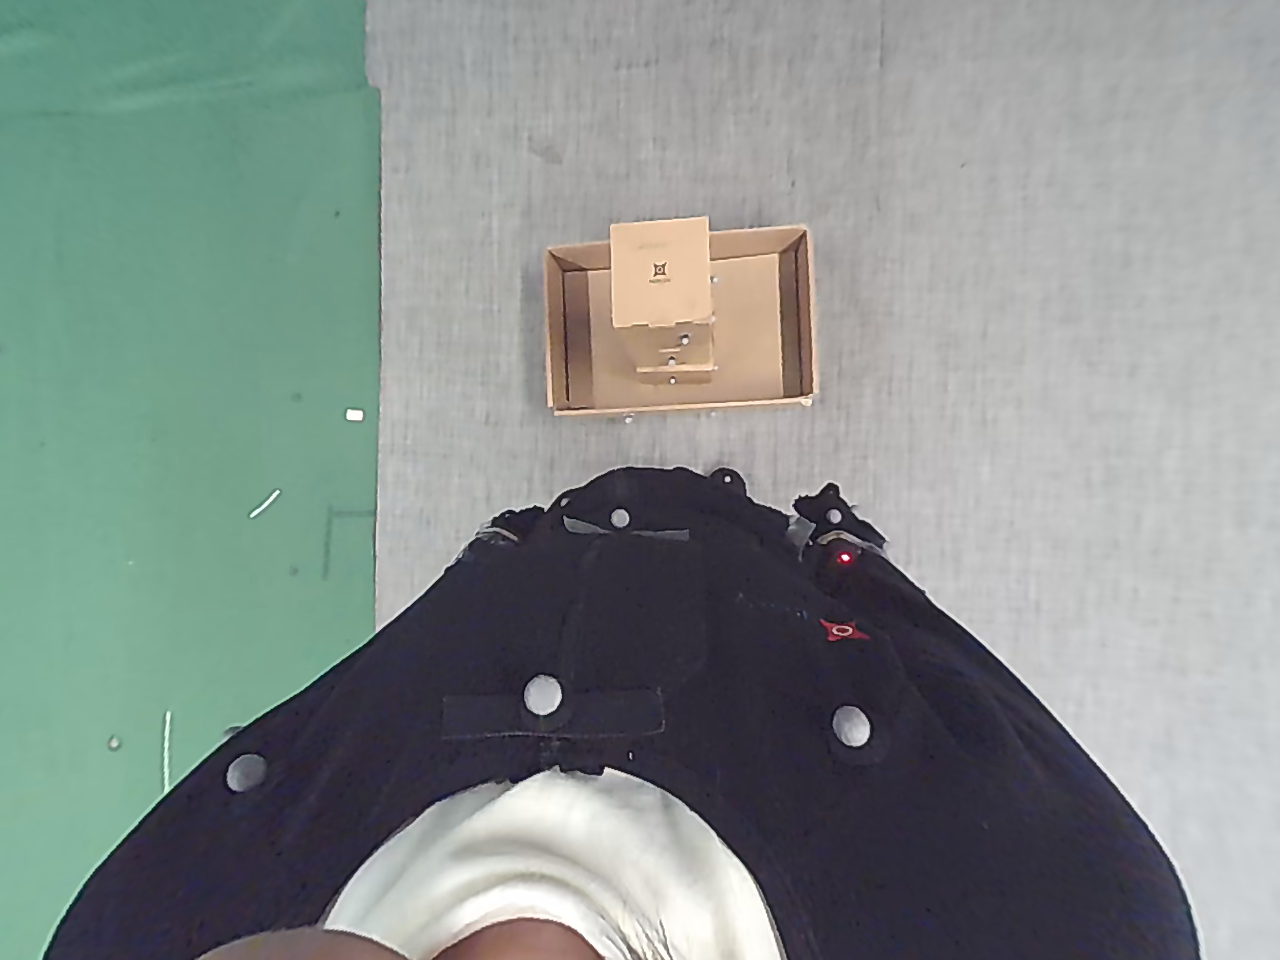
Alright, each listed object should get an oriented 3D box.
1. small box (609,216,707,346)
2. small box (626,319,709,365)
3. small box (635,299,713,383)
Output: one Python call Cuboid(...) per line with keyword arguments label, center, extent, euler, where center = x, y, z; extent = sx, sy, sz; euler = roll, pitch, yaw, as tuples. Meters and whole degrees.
Cuboid(label="small box", center=(0.039, -0.347, 0.980), extent=(0.168, 0.176, 0.179), euler=(-2, 89, 6))
Cuboid(label="small box", center=(0.060, -0.349, 1.160), extent=(0.168, 0.176, 0.179), euler=(-4, 89, 8))
Cuboid(label="small box", center=(0.087, -0.333, 1.318), extent=(0.179, 0.176, 0.168), euler=(1, 89, 8))
